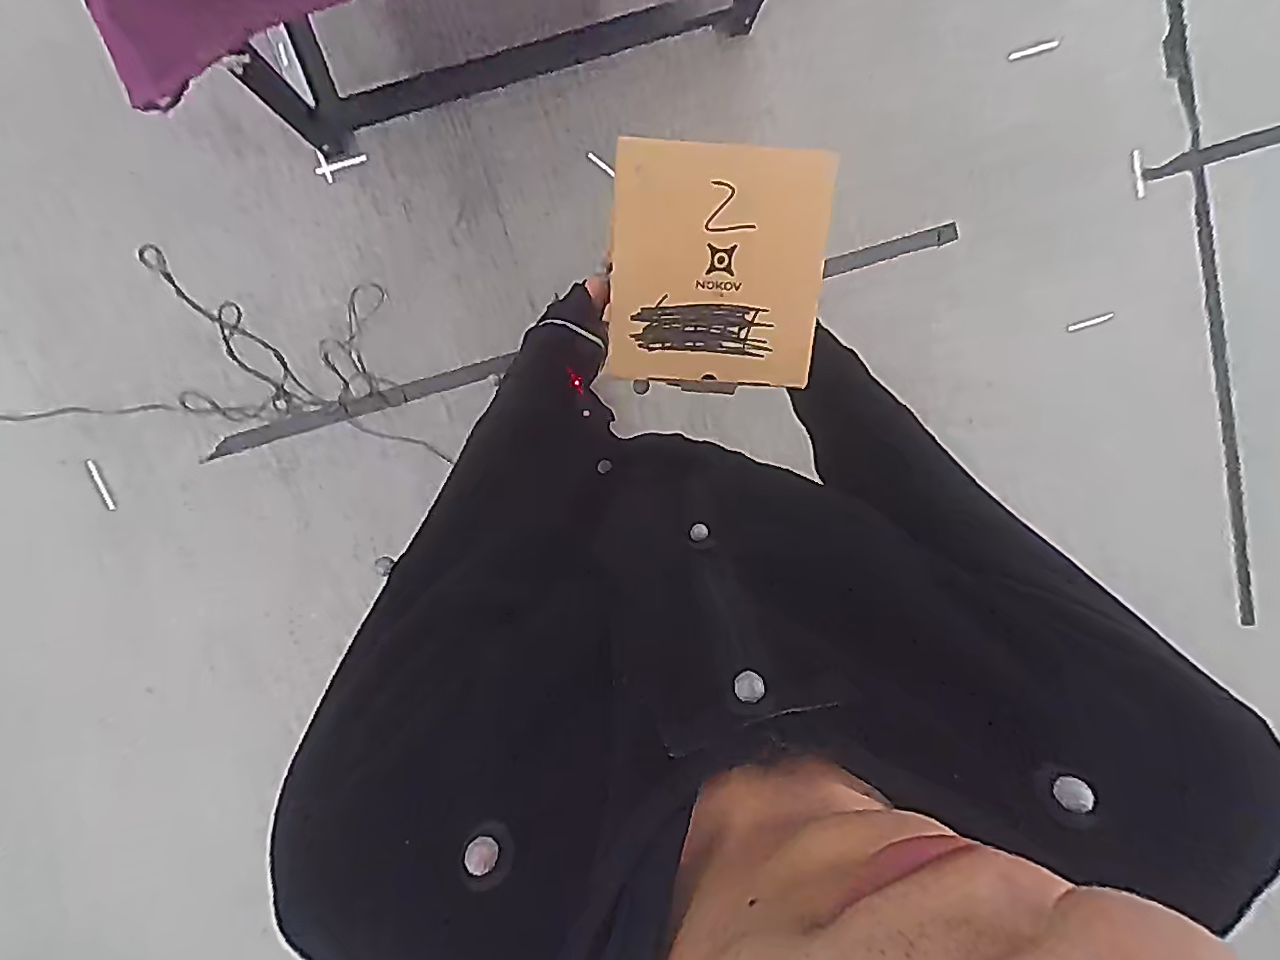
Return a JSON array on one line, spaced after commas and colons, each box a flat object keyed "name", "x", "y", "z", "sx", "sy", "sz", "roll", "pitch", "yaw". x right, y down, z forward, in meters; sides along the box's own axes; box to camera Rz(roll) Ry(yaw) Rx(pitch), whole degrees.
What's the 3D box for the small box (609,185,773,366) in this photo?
[{"name": "small box", "x": 0.047, "y": -0.235, "z": 0.646, "sx": 0.168, "sy": 0.176, "sz": 0.179, "roll": 1, "pitch": 108, "yaw": -3}]
